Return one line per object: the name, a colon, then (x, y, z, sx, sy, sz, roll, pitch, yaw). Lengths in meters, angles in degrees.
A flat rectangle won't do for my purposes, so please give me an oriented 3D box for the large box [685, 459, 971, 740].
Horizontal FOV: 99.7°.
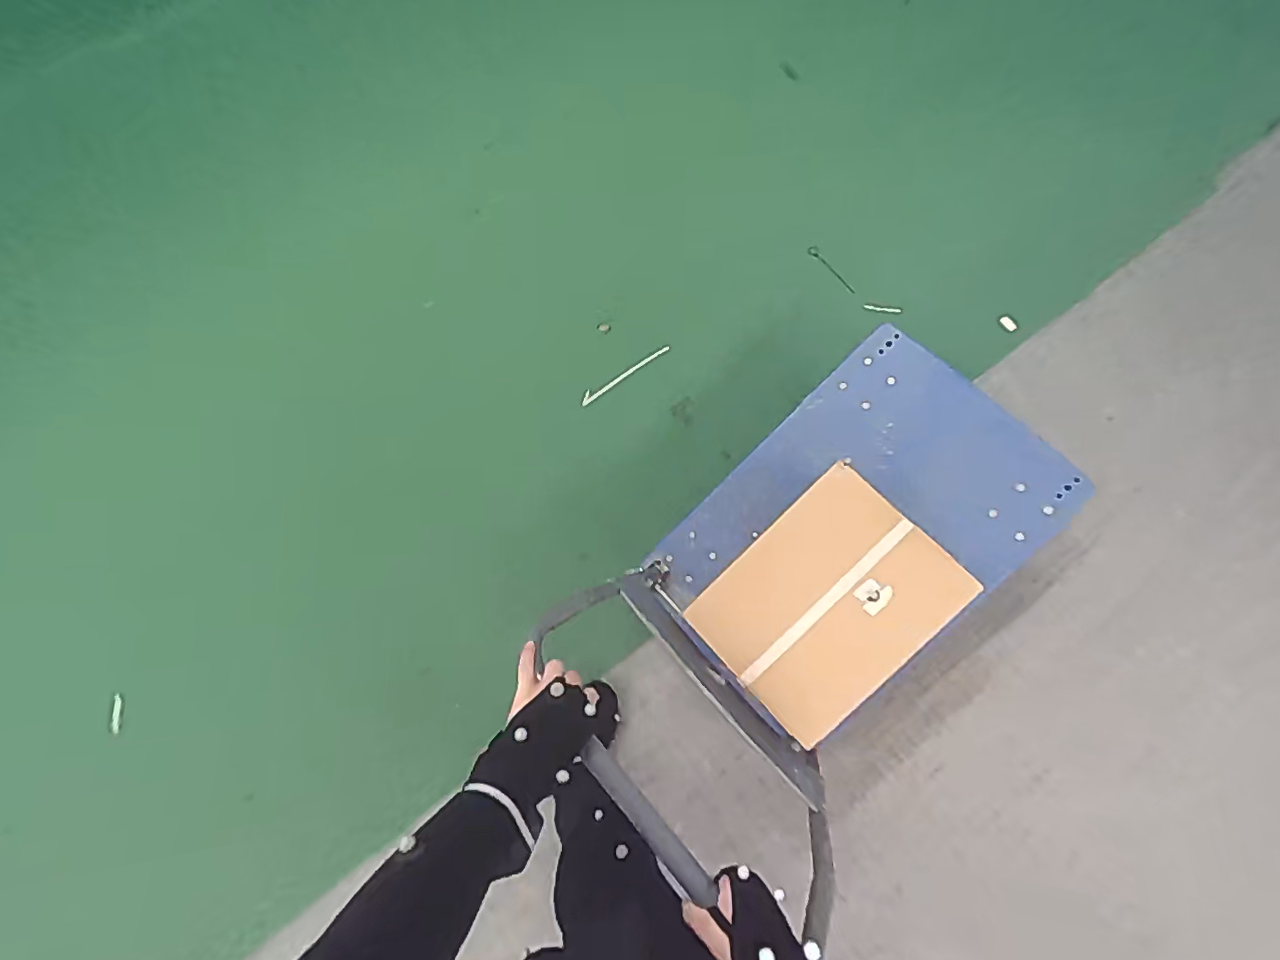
large box: (0.350, 0.227, 1.096, 0.408, 0.320, 0.320, -45, 77, 3)
